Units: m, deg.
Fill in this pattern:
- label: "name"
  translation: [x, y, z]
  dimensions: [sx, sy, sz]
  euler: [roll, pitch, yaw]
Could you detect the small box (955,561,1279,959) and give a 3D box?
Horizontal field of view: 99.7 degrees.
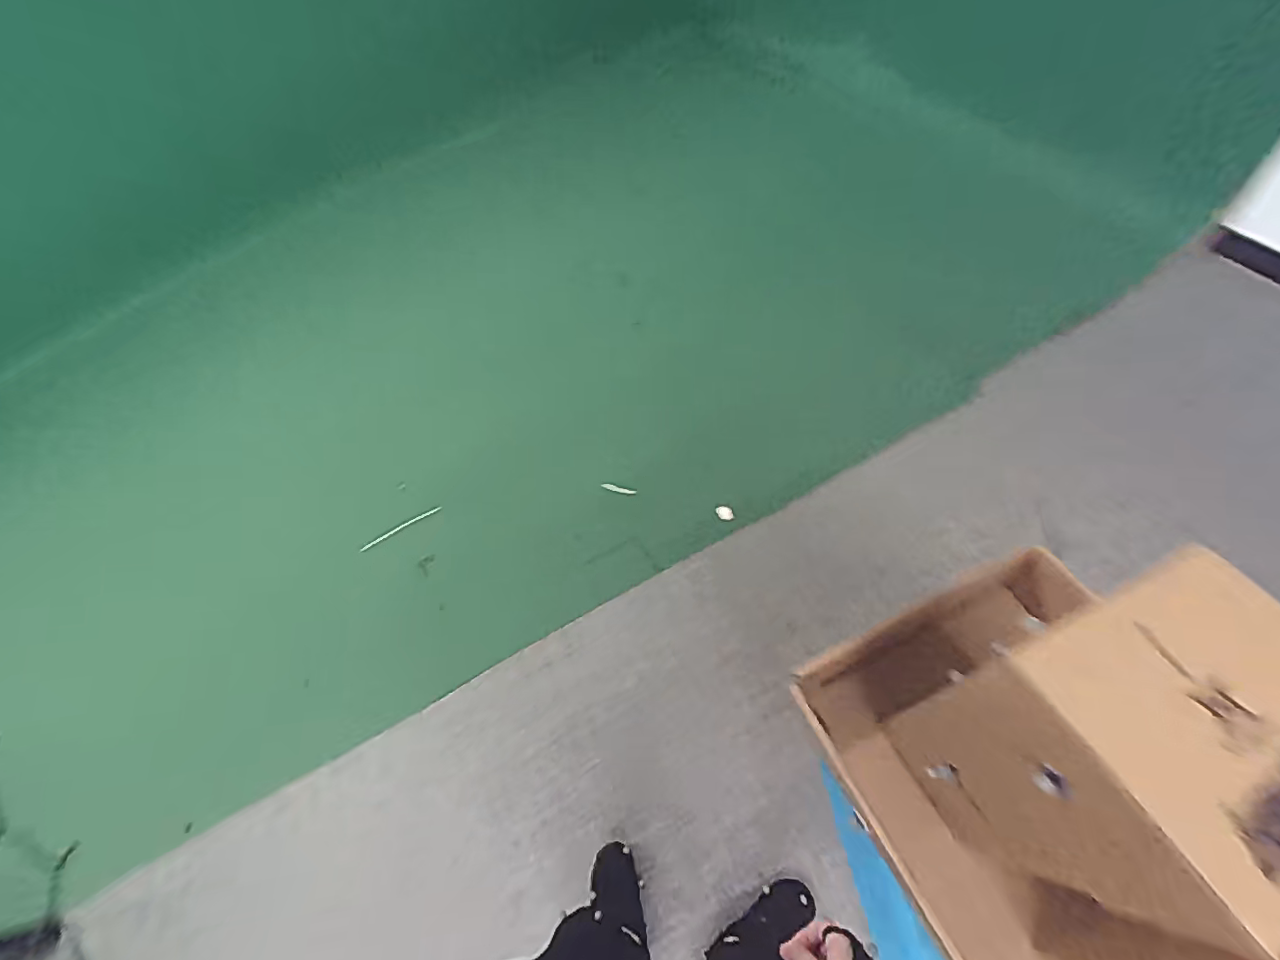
- label: "small box"
  translation: [0.372, 0.193, 0.388]
  dimensions: [0.168, 0.176, 0.179]
  euler: [-26, 56, -4]
